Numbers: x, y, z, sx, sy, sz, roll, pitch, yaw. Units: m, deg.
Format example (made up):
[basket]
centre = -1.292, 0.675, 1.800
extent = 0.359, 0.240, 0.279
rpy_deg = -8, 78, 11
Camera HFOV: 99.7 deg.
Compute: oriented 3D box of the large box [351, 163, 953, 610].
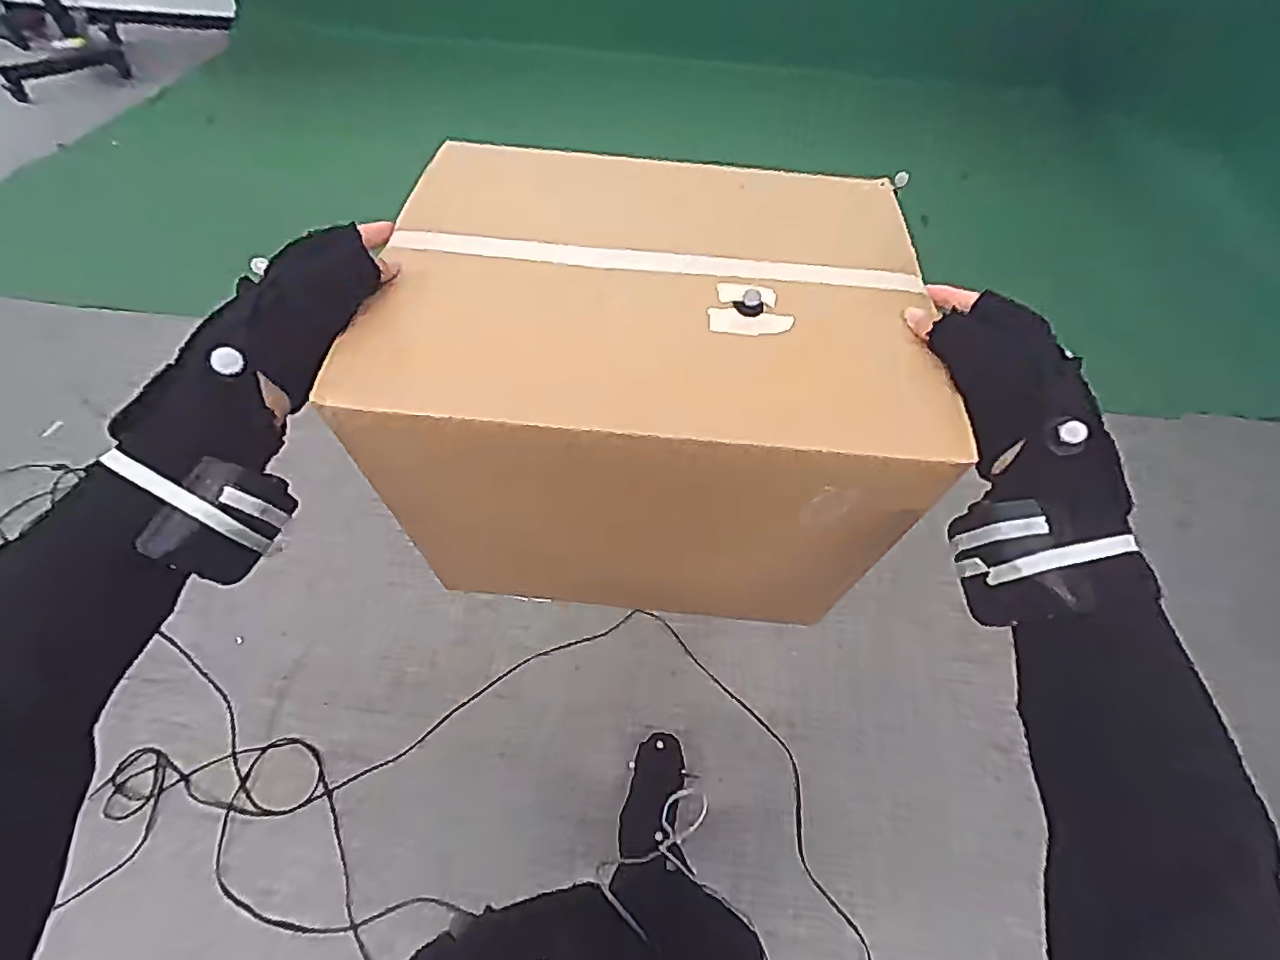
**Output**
[large box]
centre = 0.009, -0.077, 0.554
extent = 0.408, 0.320, 0.320
rpy_deg = 6, 57, 0
